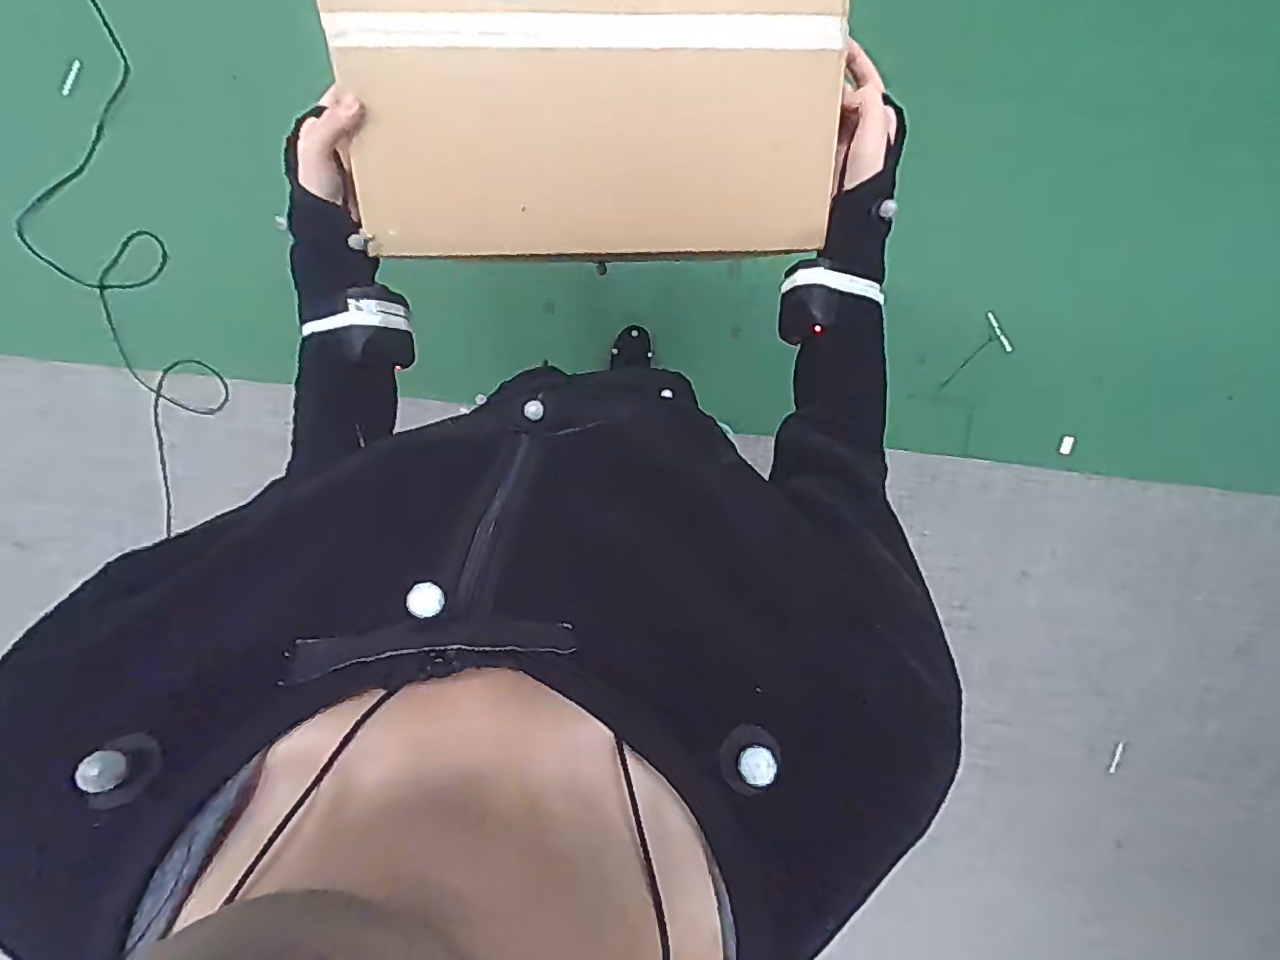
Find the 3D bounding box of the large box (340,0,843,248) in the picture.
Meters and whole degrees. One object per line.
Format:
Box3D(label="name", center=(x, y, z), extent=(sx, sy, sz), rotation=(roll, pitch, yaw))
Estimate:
Box3D(label="large box", center=(-0.042, -0.419, 0.569), extent=(0.408, 0.320, 0.320), rotation=(-2, 111, -3))
